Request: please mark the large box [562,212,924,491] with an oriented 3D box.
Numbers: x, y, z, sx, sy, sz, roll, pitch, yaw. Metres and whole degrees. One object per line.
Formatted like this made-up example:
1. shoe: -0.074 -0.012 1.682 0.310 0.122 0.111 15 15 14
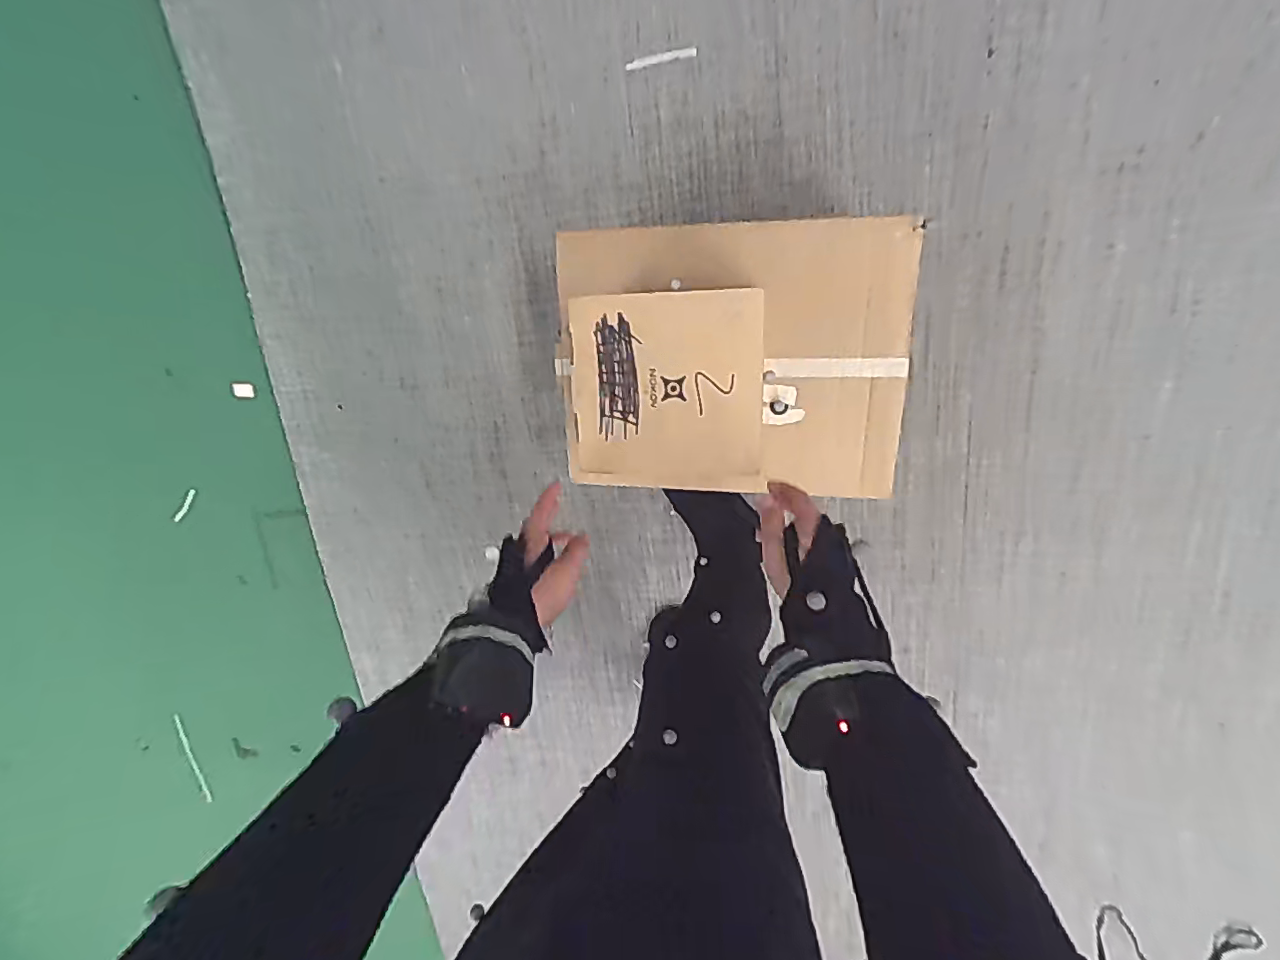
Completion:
1. large box: 0.132 -0.178 0.781 0.408 0.320 0.320 2 108 11
